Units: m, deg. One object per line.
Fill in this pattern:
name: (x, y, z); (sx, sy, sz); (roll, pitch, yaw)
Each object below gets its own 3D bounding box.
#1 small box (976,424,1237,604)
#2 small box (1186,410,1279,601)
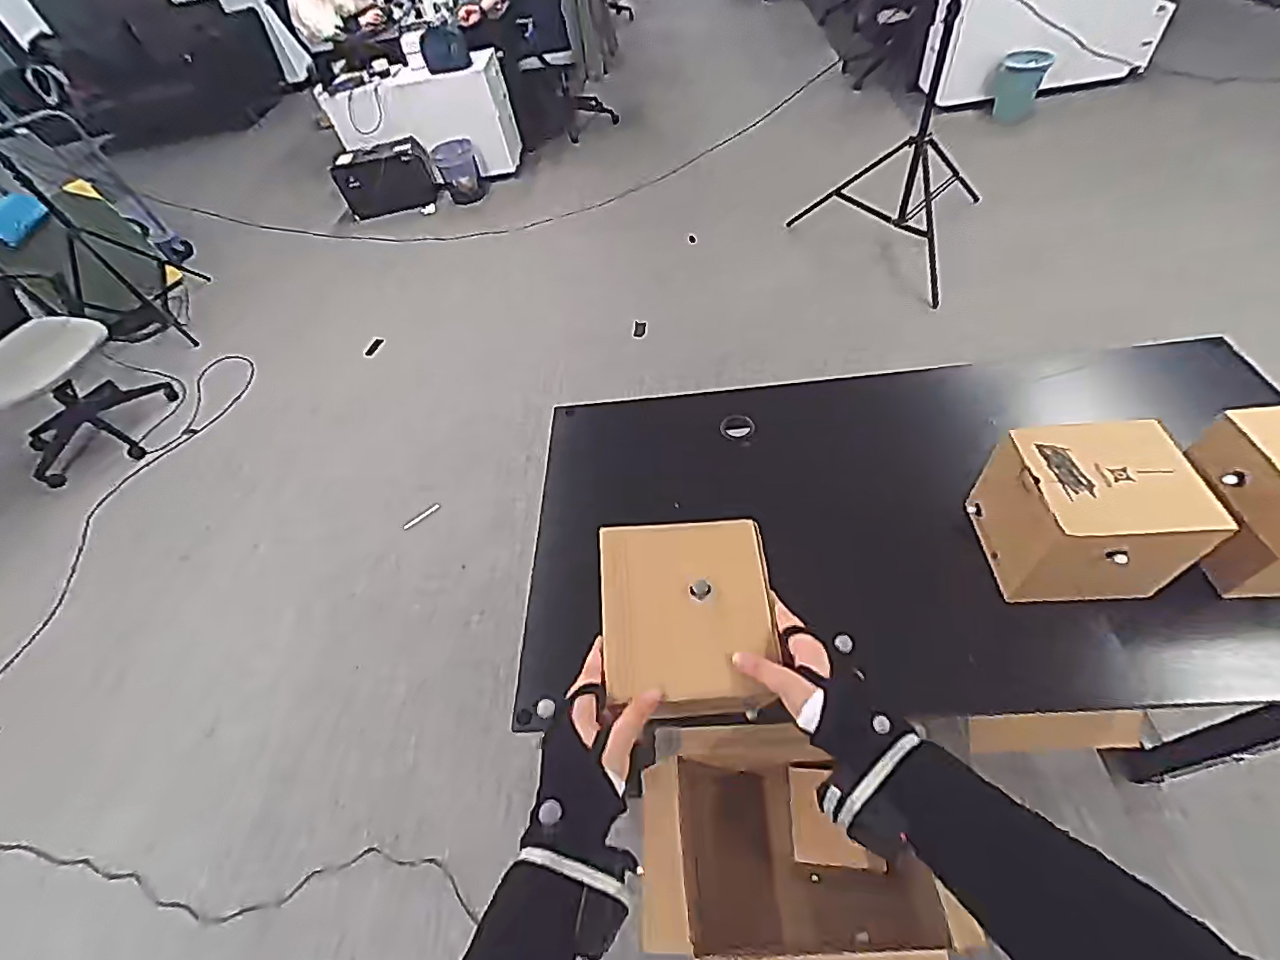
small box: (0.563, 0.049, 0.694); (0.179, 0.176, 0.168); (-3, 52, 7)
small box: (0.806, 0.031, 0.661); (0.168, 0.176, 0.179); (-4, 51, 8)
